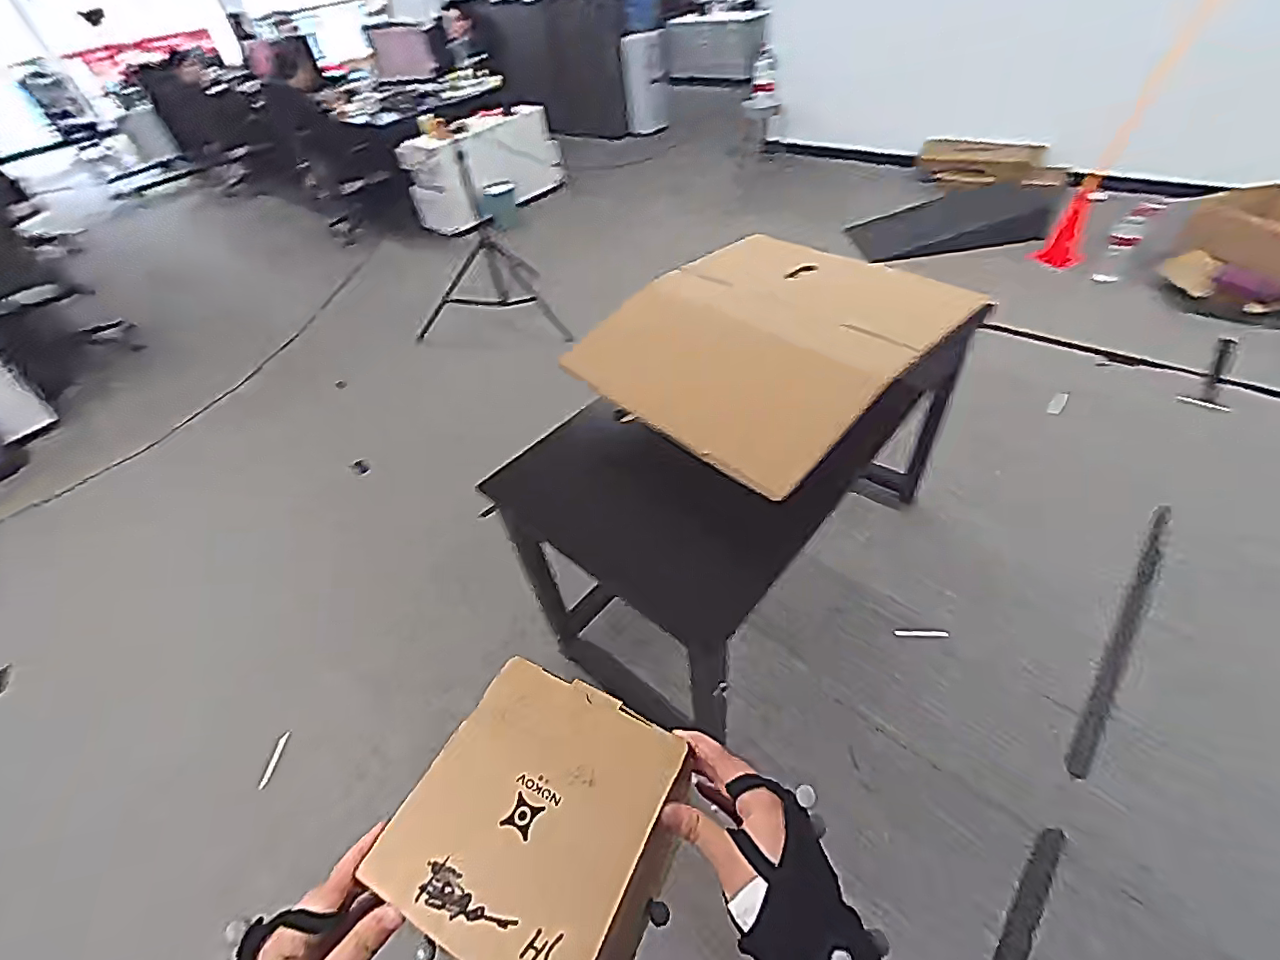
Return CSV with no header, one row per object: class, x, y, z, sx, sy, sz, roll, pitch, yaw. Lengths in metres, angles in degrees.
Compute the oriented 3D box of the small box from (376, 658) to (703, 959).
small box,-0.060,0.285,0.430,0.168,0.176,0.179,17,46,24
